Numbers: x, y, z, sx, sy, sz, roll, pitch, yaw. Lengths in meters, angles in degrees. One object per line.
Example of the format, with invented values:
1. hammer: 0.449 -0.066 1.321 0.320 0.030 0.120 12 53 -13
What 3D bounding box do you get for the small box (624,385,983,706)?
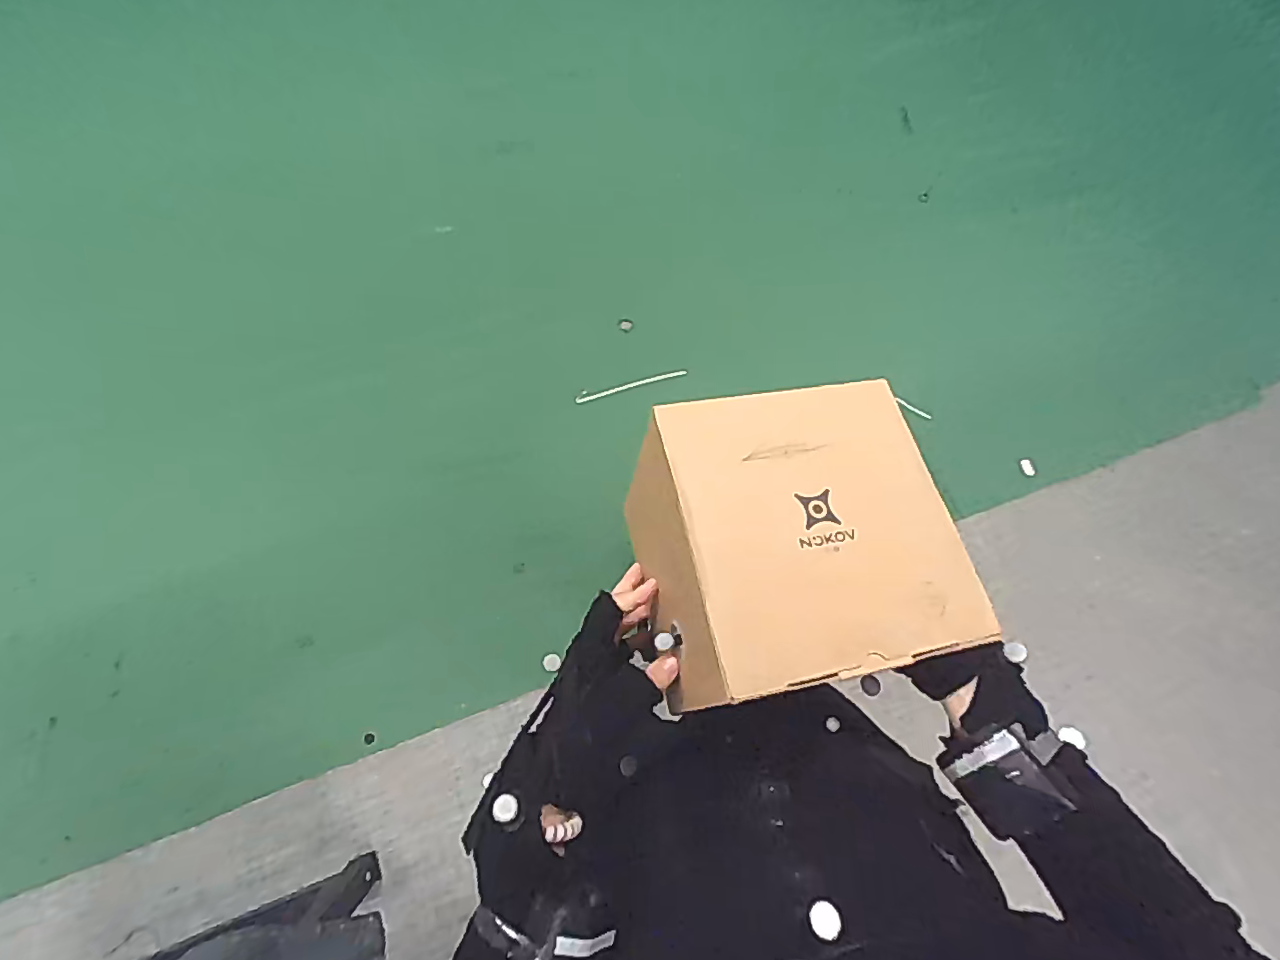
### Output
1. small box: 0.089 0.057 0.394 0.168 0.176 0.179 -9 67 -12
